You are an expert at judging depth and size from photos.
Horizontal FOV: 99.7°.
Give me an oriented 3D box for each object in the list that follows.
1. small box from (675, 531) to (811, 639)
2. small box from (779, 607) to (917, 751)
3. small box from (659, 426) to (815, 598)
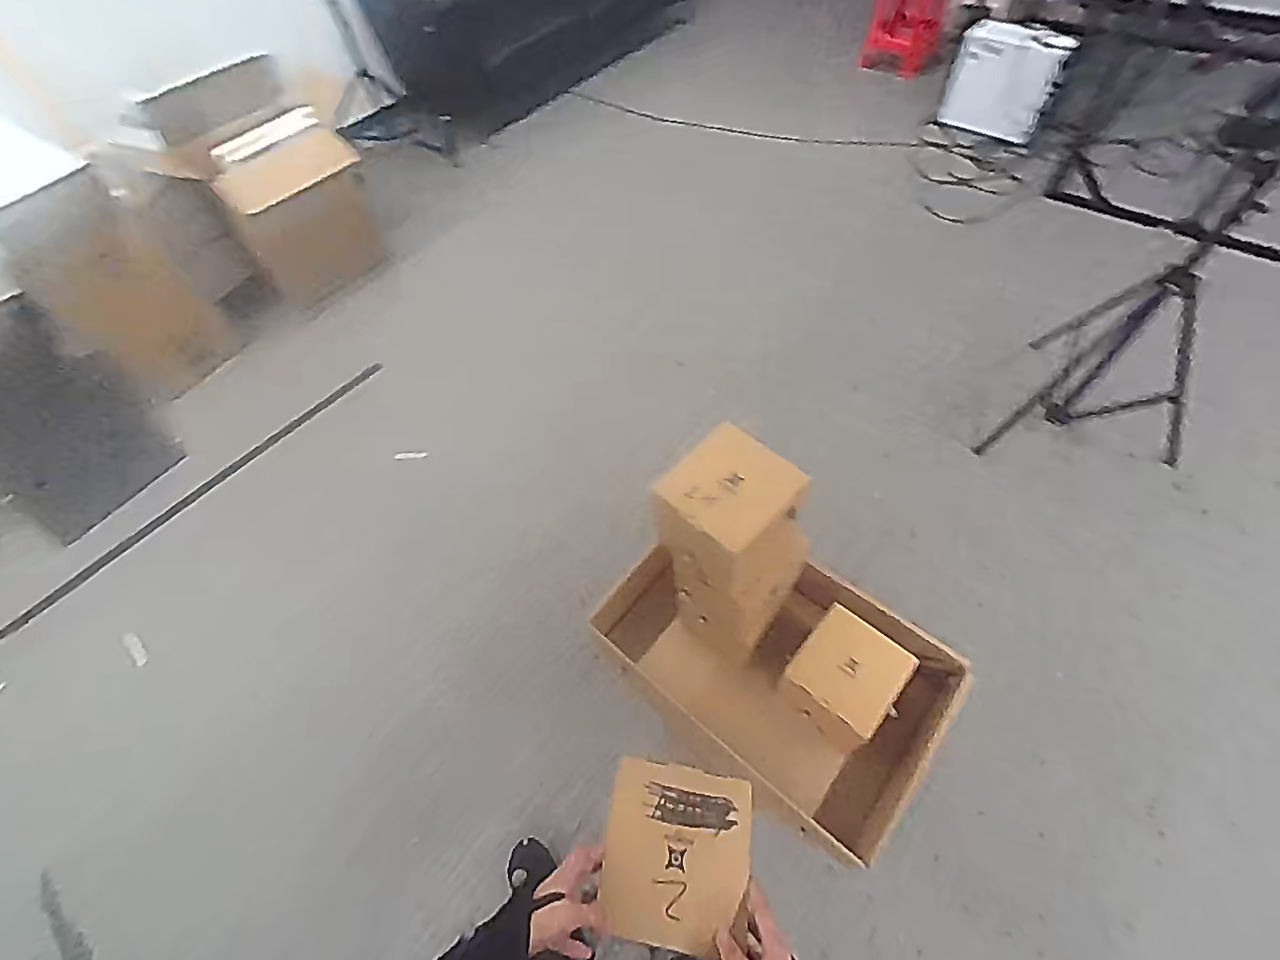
[{"bbox_3d":[0.184,0.160,0.992,0.179,0.176,0.168,-41,62,-20],"label":"small box"},{"bbox_3d":[0.382,0.380,1.024,0.168,0.176,0.179,36,67,26],"label":"small box"},{"bbox_3d":[0.147,0.055,0.868,0.179,0.176,0.168,-41,62,-19],"label":"small box"}]
